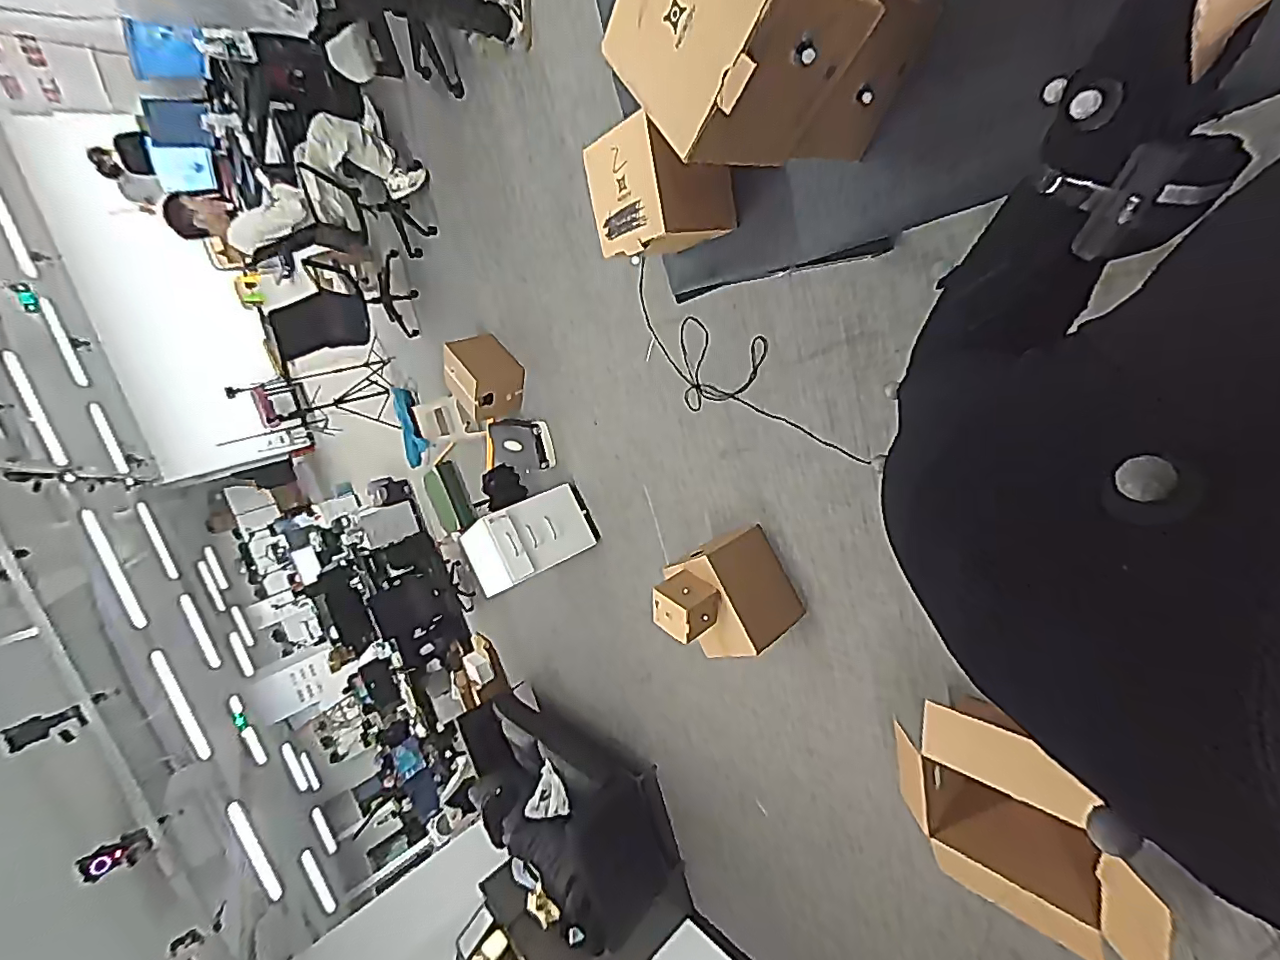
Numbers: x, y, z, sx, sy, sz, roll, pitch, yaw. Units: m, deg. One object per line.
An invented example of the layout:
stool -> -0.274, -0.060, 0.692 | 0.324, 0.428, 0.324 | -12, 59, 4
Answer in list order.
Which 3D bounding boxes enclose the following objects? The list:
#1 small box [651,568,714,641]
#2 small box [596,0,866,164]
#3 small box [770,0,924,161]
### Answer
small box -> 0.159, 0.456, 2.015 | 0.179, 0.176, 0.168 | 25, 128, 40
small box -> 0.090, -0.457, 0.553 | 0.179, 0.176, 0.168 | 58, 143, 13
small box -> 0.200, -0.517, 0.659 | 0.179, 0.176, 0.168 | 50, 141, 22
